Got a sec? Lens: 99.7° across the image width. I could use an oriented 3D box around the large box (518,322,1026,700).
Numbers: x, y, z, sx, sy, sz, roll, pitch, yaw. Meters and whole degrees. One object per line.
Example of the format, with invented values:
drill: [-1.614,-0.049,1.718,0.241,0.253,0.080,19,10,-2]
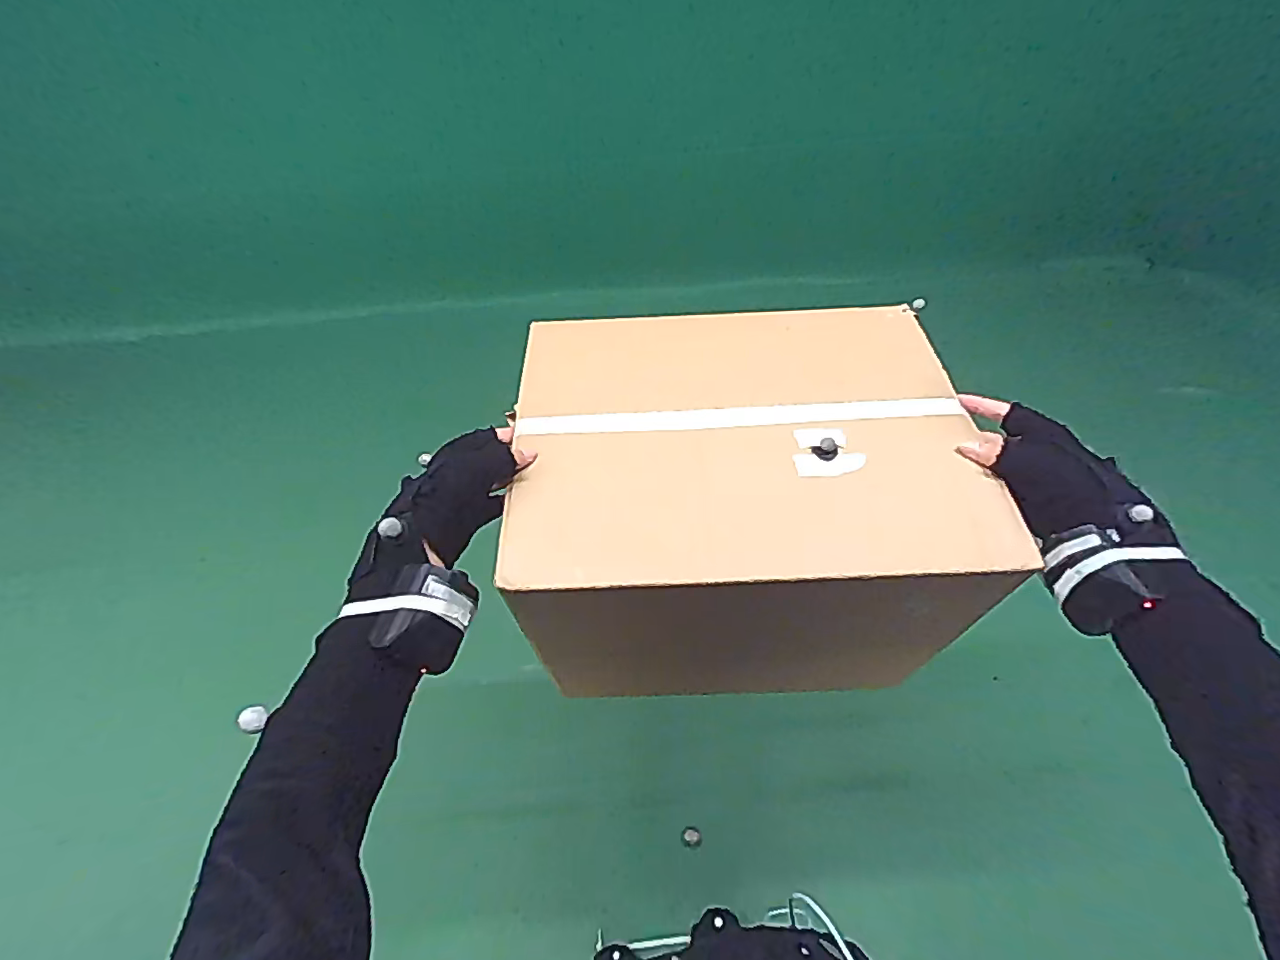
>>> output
large box: [0.099,0.046,0.622,0.408,0.320,0.320,-2,54,0]
